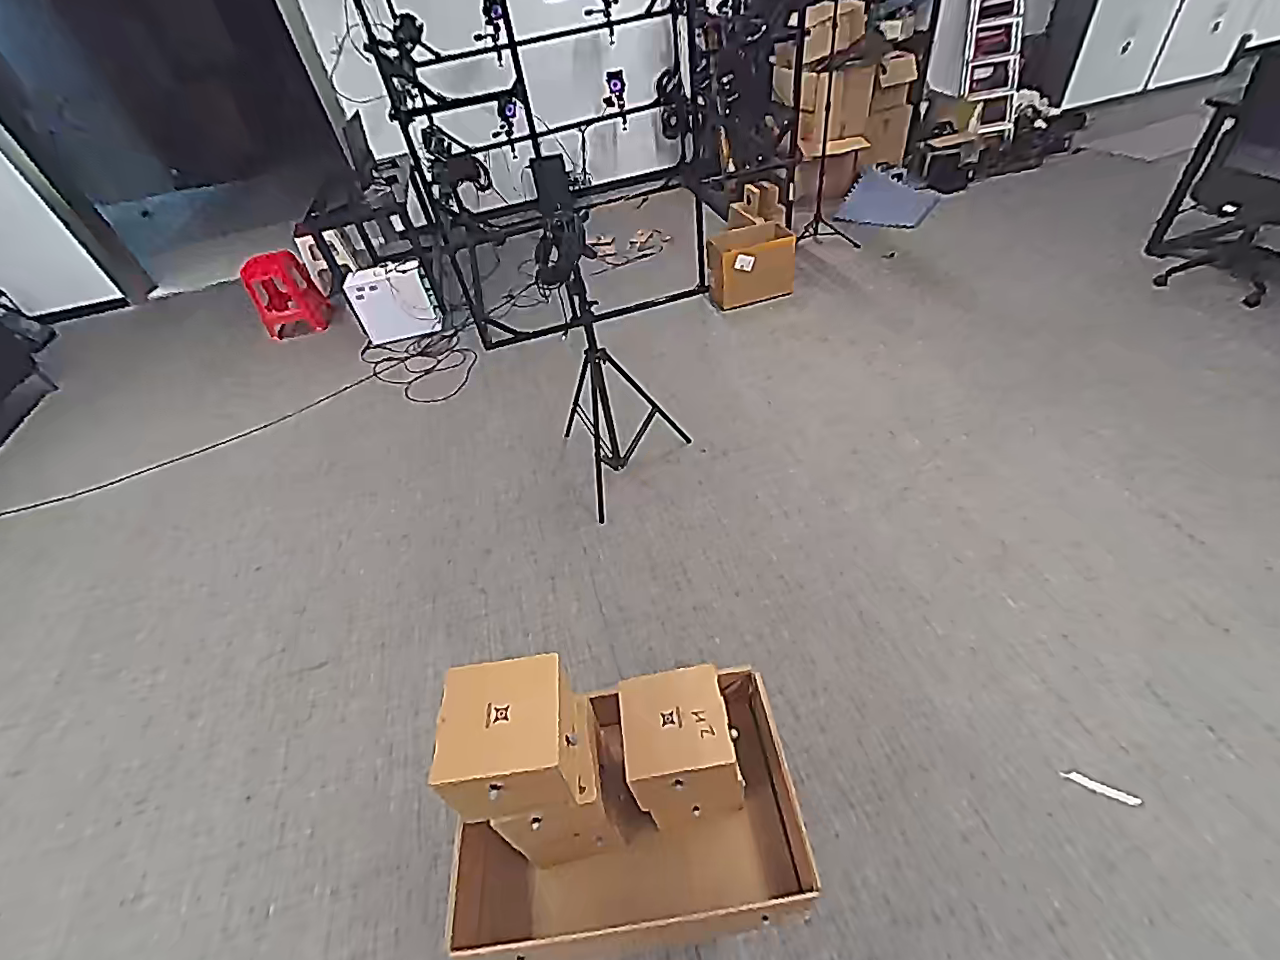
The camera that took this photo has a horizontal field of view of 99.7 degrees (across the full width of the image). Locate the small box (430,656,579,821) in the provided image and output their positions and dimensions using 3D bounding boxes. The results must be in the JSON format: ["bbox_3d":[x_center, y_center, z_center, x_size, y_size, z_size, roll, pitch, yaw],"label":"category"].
[{"bbox_3d":[-0.189,0.390,0.815,0.179,0.176,0.168,-9,43,-1],"label":"small box"}]
